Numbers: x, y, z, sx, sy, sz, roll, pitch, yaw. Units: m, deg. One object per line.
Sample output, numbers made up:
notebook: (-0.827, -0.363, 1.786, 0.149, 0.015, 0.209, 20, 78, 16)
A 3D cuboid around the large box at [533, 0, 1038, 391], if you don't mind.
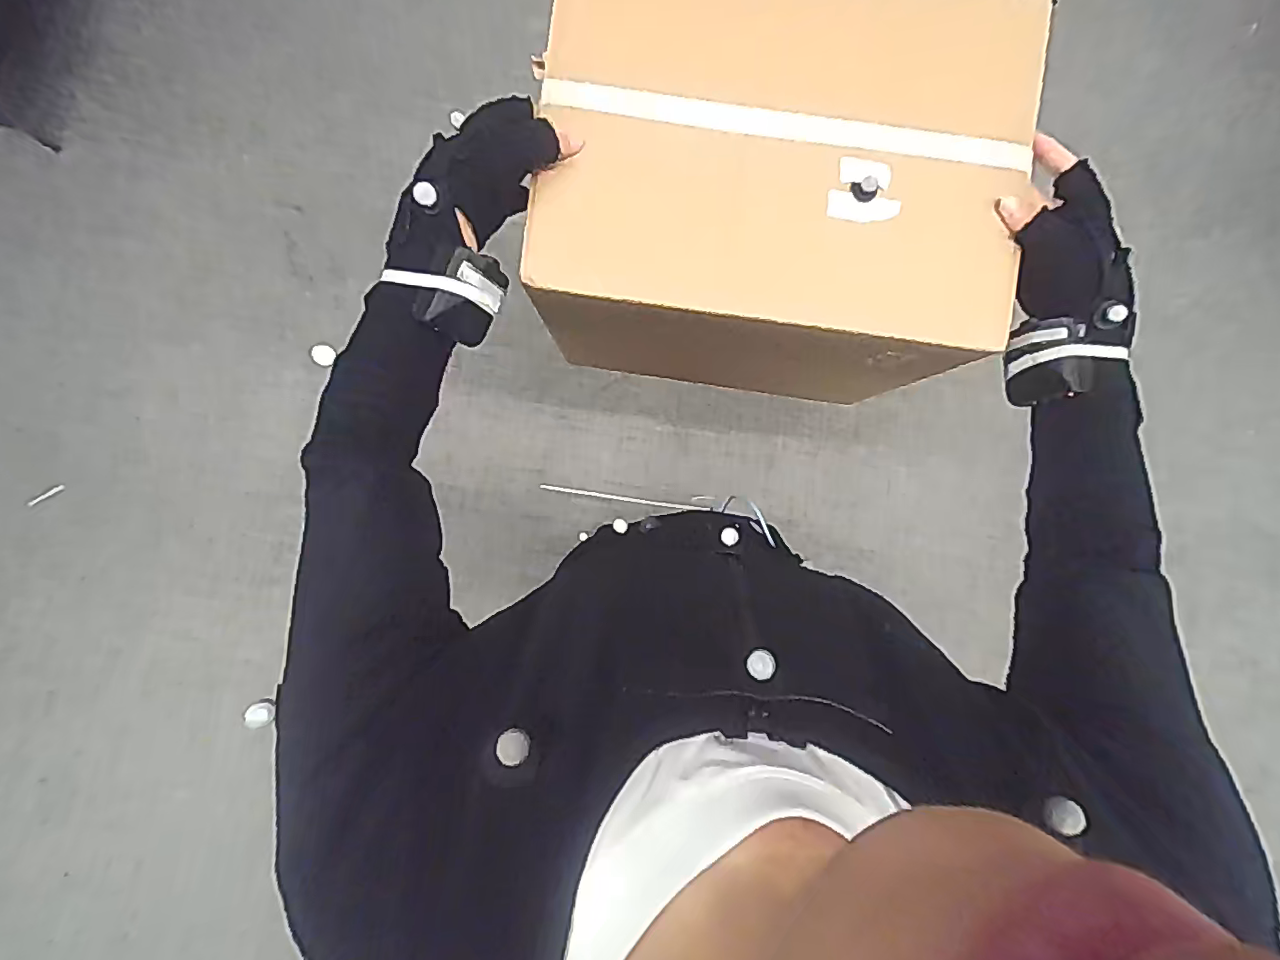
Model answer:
large box: (0.118, -0.295, 0.597, 0.408, 0.320, 0.320, 7, 90, -2)
